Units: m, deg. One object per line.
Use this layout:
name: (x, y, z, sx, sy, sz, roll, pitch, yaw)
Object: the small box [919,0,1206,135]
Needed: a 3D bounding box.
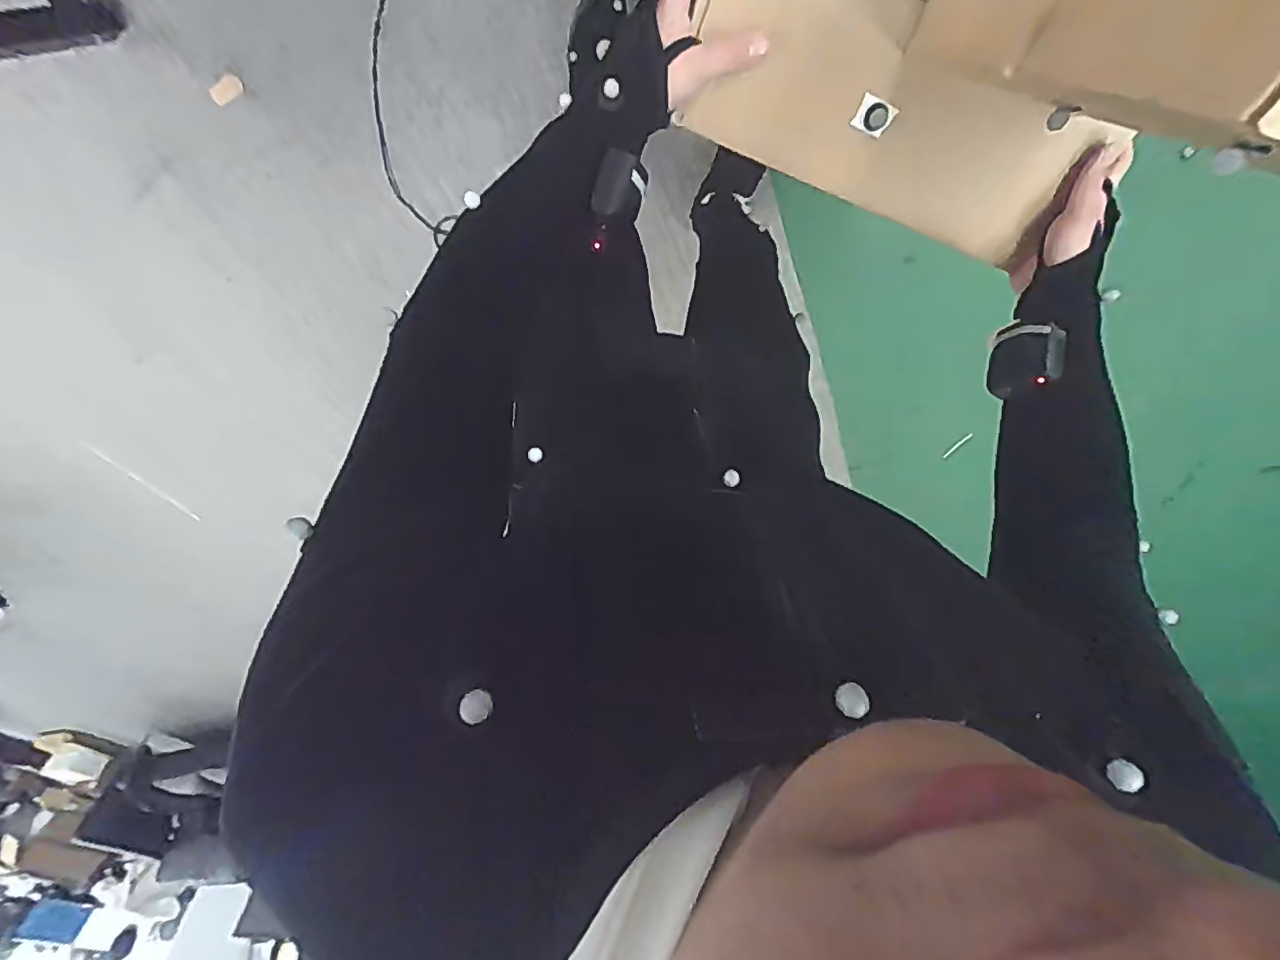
small box: (0.318, -0.346, 0.343, 0.179, 0.176, 0.168, 11, 131, -8)
